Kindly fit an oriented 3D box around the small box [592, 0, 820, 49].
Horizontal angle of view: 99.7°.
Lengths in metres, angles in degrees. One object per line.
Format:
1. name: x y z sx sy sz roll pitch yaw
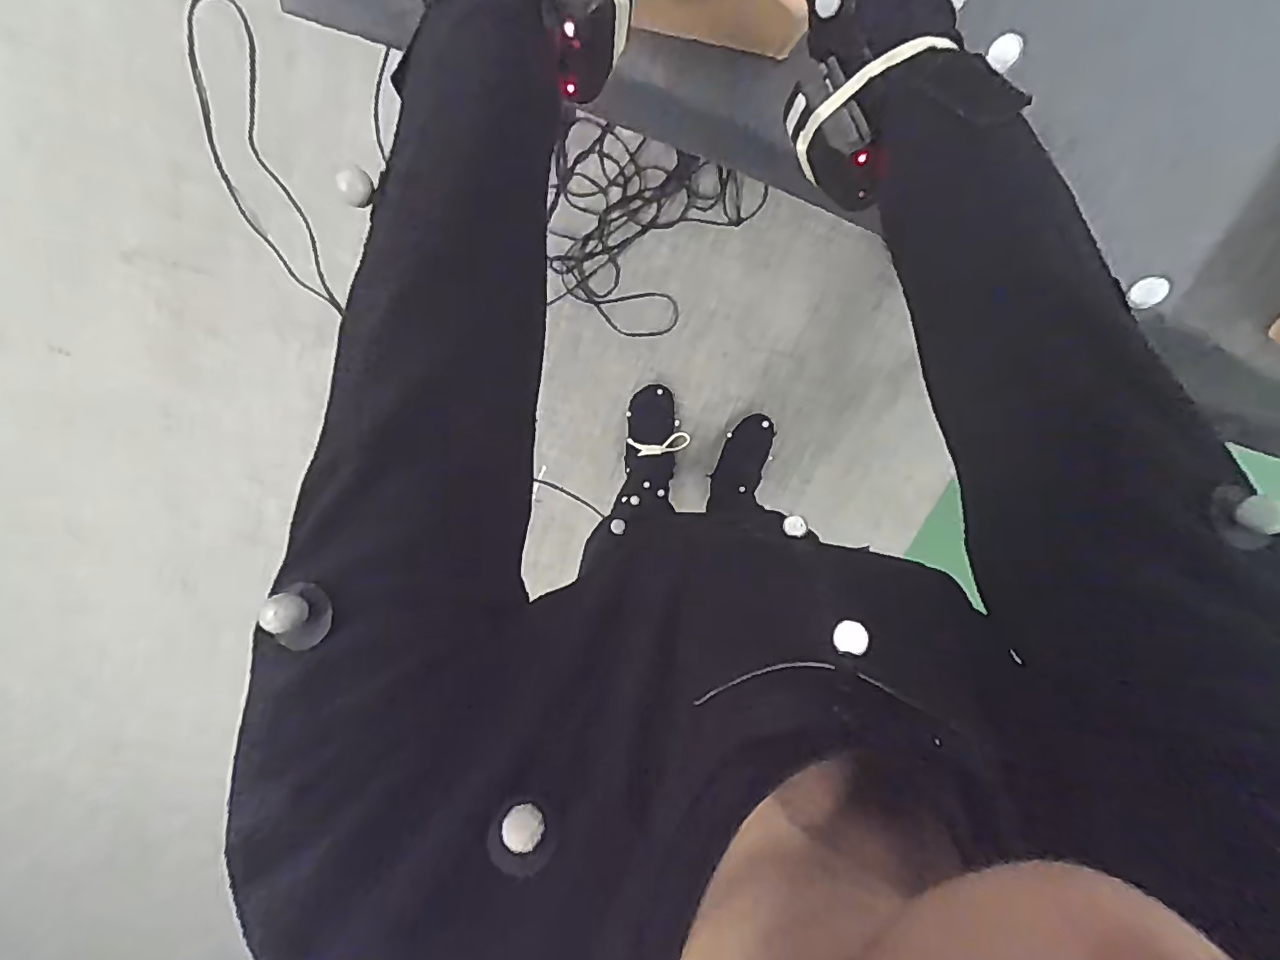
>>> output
1. small box: 0.059 -0.426 0.357 0.179 0.176 0.168 8 108 -5
